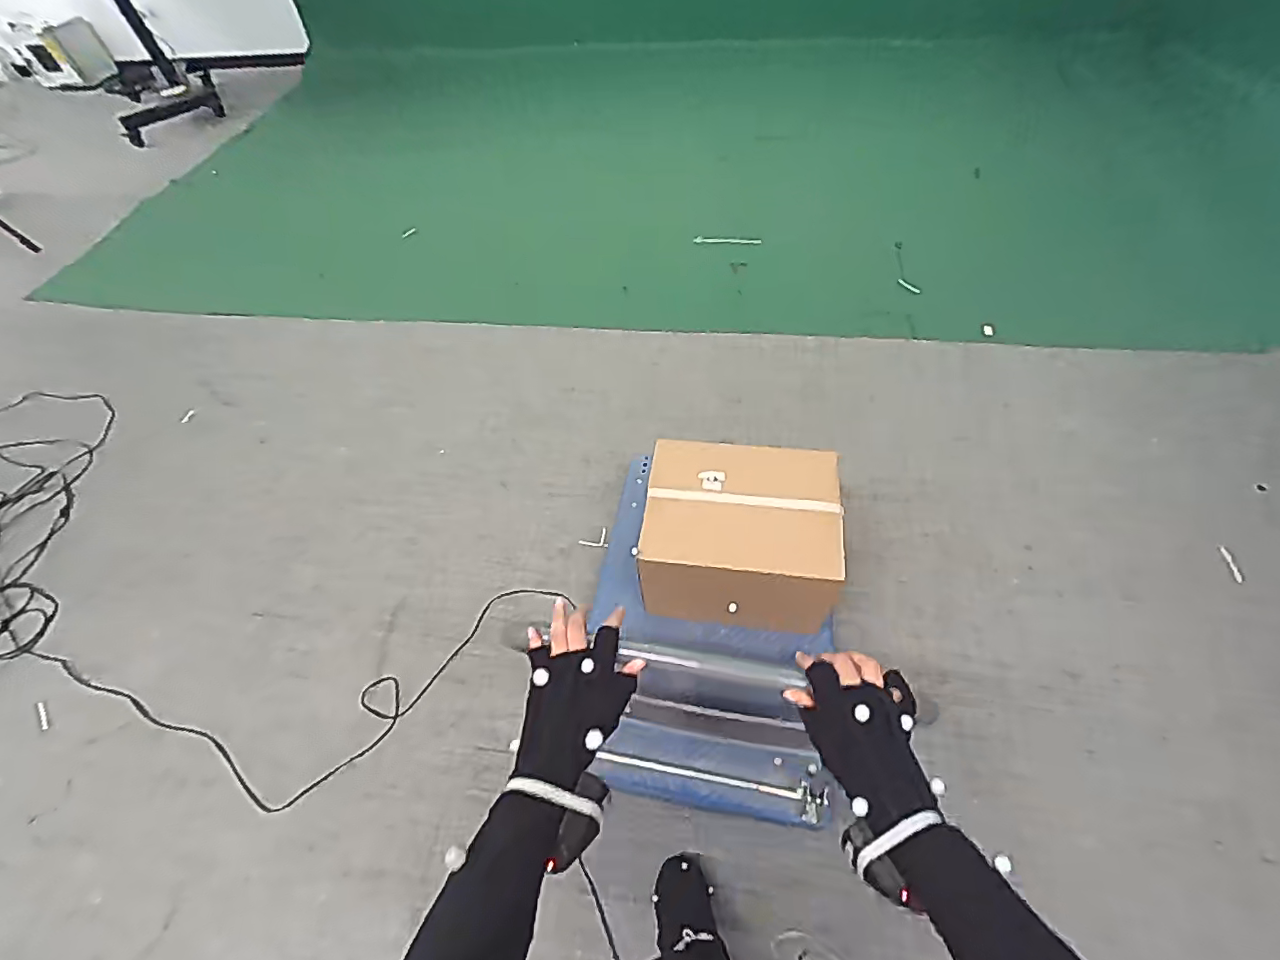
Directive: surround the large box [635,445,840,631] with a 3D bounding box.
[{"bbox_3d":[0.221,0.139,1.261,0.408,0.320,0.320,4,54,10],"label":"large box"}]
